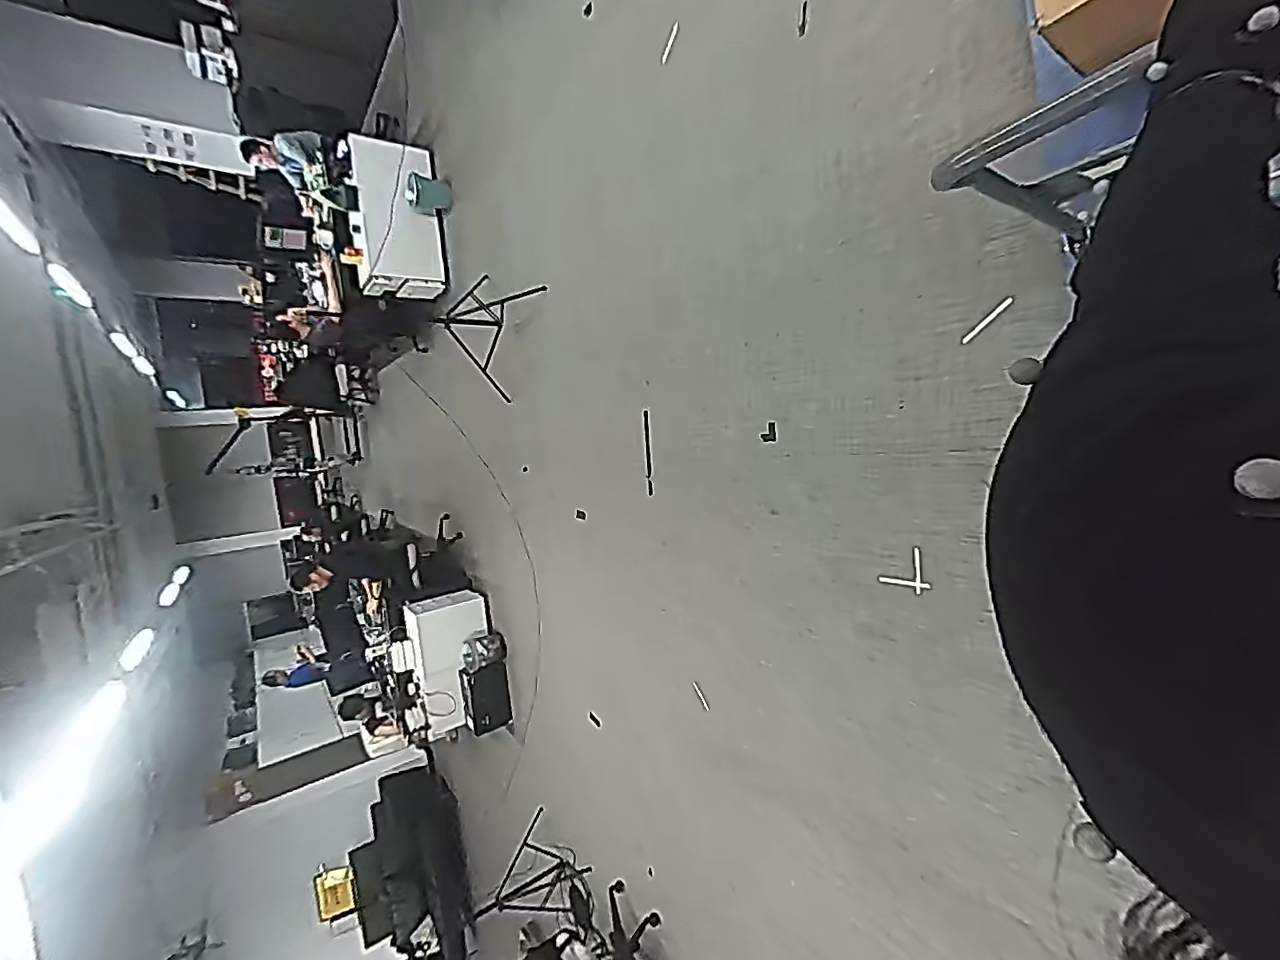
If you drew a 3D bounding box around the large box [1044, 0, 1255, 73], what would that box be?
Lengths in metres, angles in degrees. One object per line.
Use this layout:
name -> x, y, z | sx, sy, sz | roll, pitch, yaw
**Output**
large box -> 0.831, -0.878, 0.737 | 0.408, 0.320, 0.320 | -5, 93, 56
